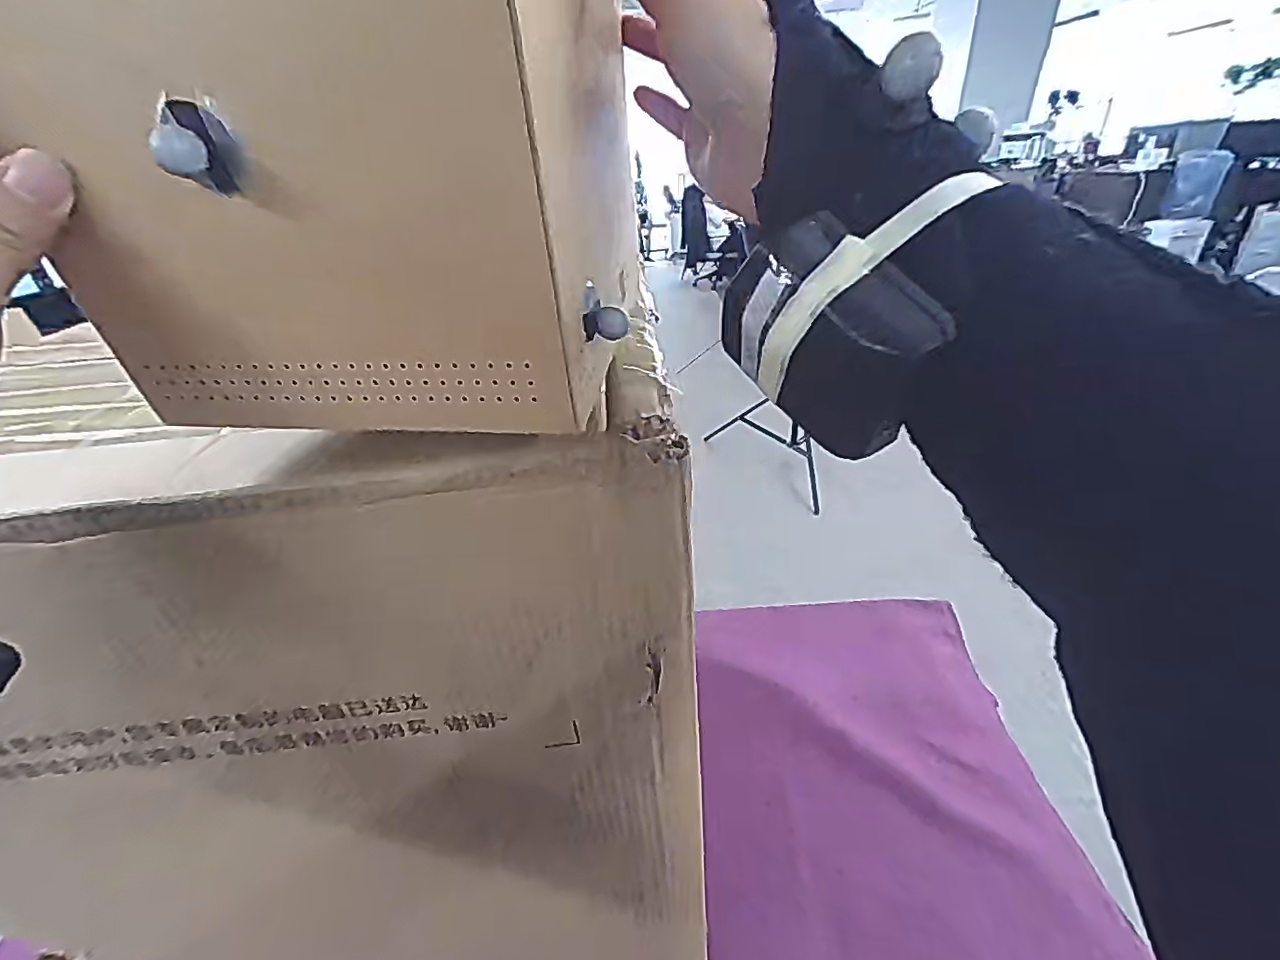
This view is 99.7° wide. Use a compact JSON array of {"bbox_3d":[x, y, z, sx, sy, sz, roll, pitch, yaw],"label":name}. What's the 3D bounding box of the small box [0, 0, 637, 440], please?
[{"bbox_3d":[-0.098,-0.128,0.222,0.179,0.176,0.168,1,37,8],"label":"small box"}]
